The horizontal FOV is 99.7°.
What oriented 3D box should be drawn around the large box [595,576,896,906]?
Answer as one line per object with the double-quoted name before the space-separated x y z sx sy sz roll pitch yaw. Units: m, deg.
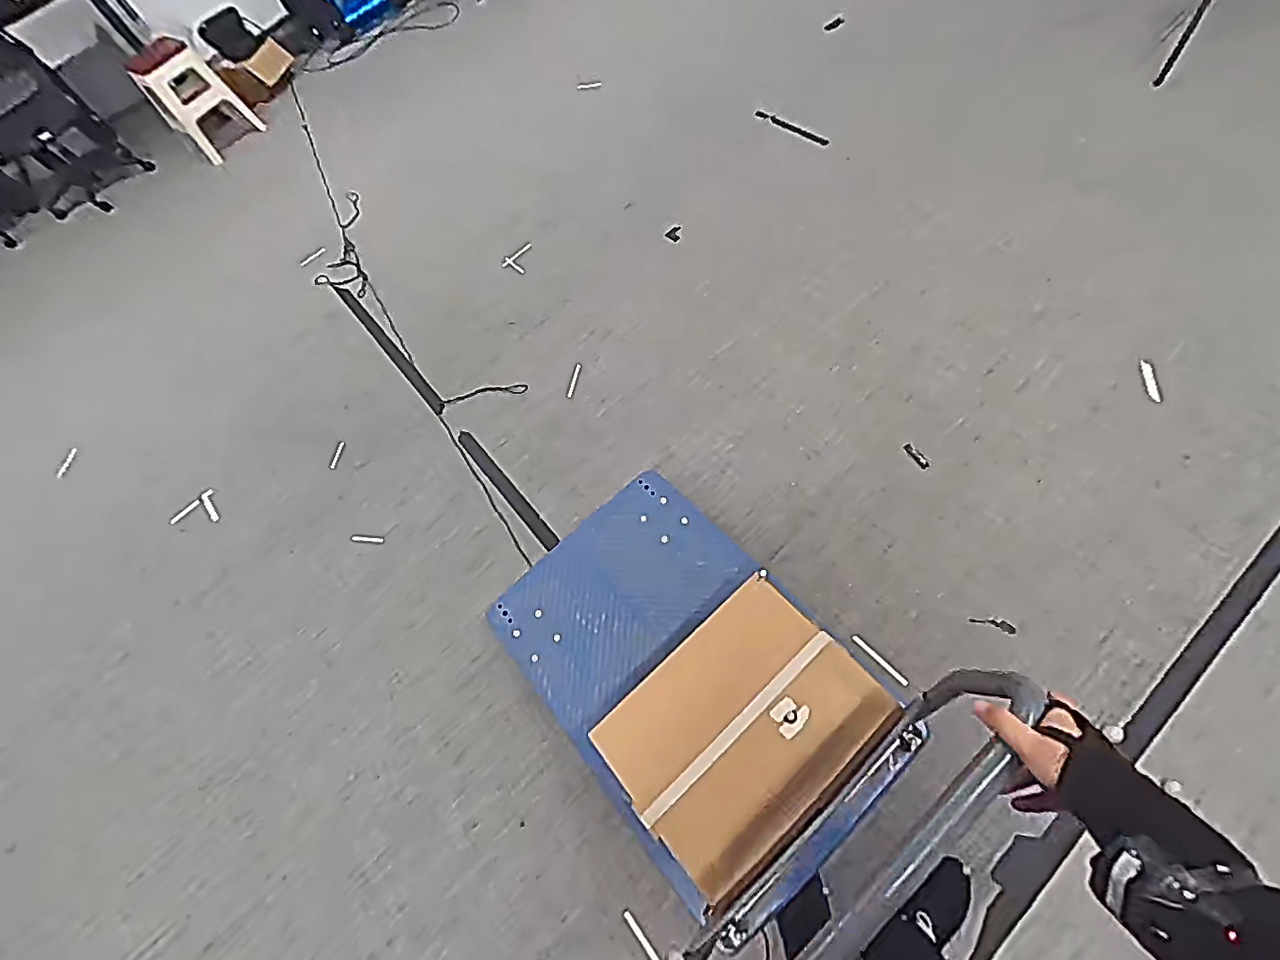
"large box" 0.190 0.462 1.003 0.408 0.320 0.320 -41 62 -10
